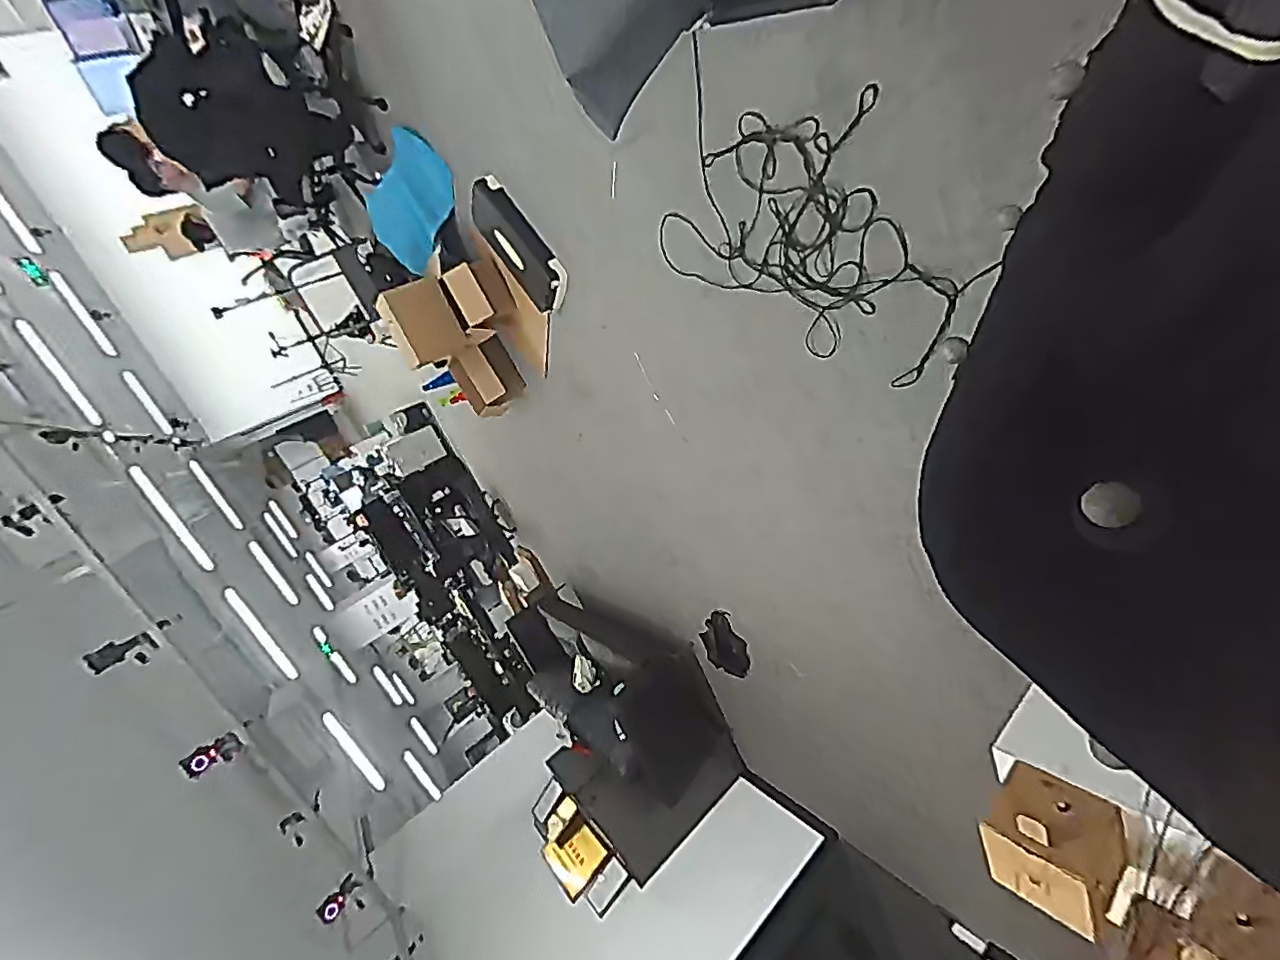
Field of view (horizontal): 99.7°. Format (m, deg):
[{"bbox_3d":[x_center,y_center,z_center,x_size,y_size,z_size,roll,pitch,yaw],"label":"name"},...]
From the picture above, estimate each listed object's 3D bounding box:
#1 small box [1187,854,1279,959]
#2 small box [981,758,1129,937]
[{"bbox_3d":[0.923,0.695,0.774,0.168,0.176,0.179,12,131,58],"label":"small box"},{"bbox_3d":[0.773,0.670,1.004,0.168,0.176,0.179,9,128,57],"label":"small box"}]
